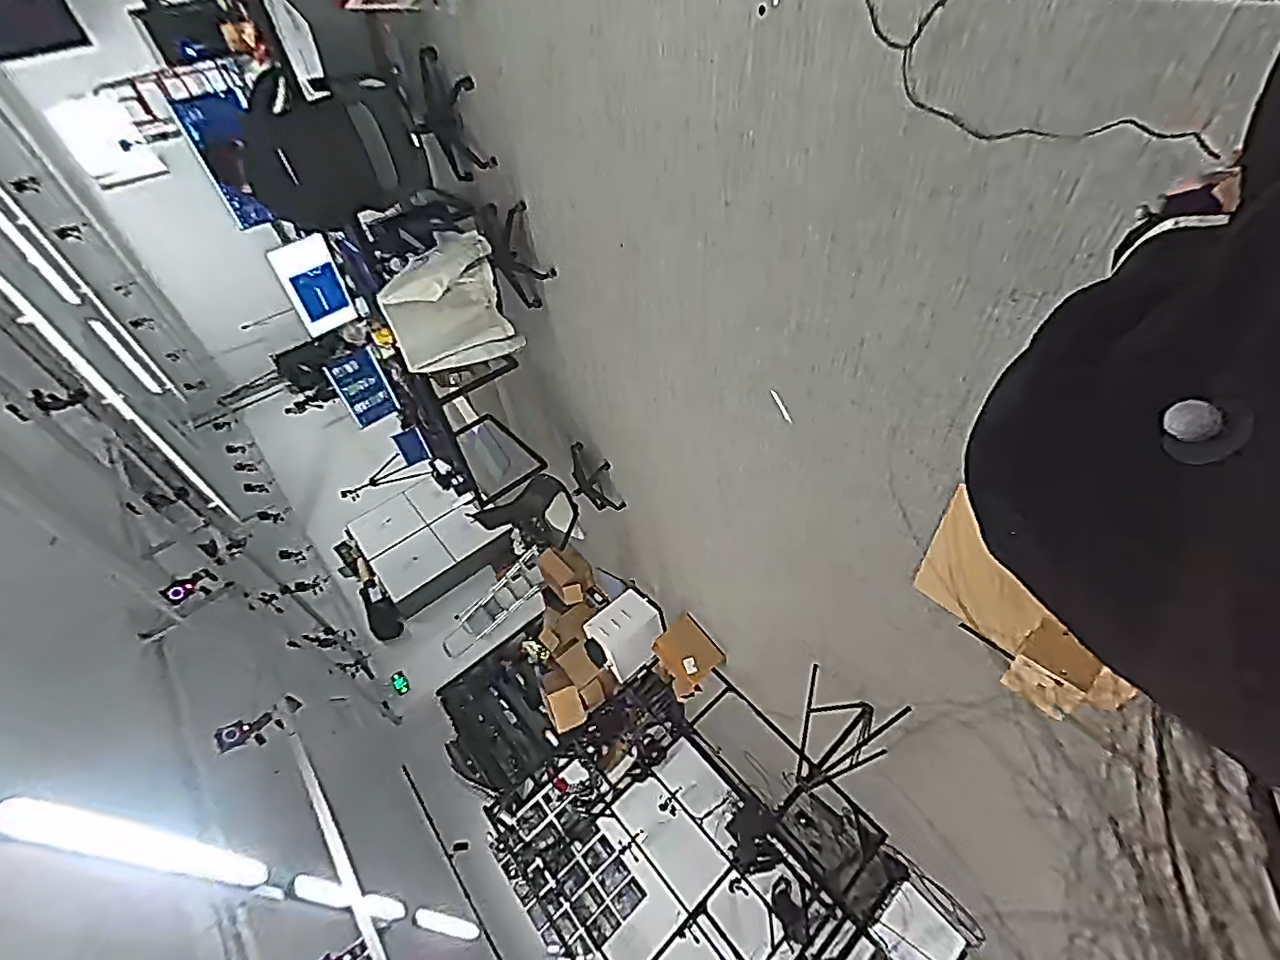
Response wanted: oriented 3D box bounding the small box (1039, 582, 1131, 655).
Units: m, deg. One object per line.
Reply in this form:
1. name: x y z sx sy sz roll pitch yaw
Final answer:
1. small box: 1.309 0.439 1.611 0.168 0.176 0.179 37 150 37

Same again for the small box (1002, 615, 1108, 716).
1. small box: 1.186 0.527 1.547 0.168 0.176 0.179 36 150 37
